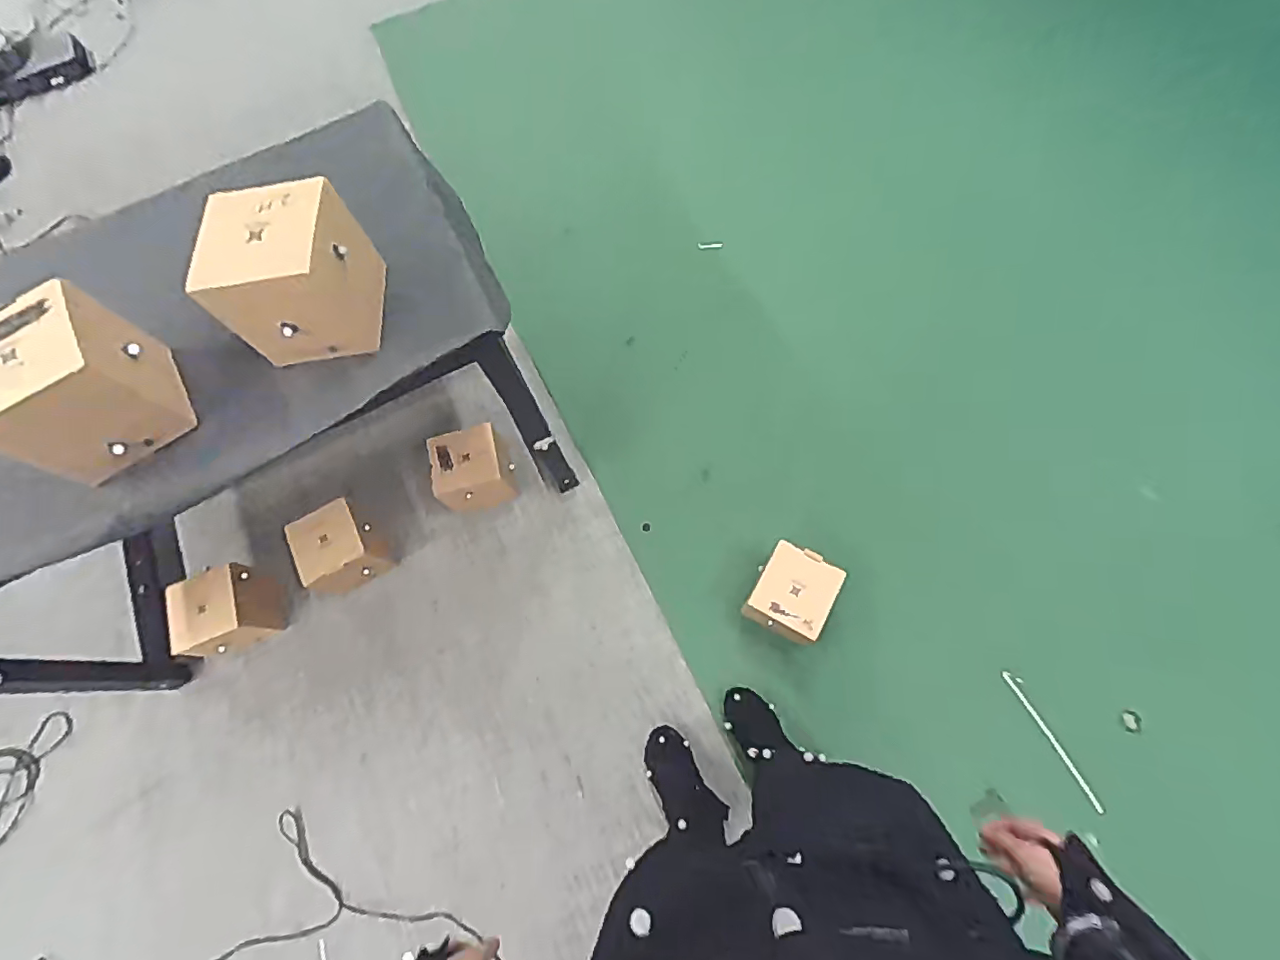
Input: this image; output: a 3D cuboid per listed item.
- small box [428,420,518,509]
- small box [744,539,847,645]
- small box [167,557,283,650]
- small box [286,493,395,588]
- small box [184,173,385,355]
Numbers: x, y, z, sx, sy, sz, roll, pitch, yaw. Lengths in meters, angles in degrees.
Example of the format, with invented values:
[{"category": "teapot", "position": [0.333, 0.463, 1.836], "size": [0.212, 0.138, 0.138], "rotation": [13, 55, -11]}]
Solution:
[{"category": "small box", "position": [-0.446, -0.036, 1.458], "size": [0.179, 0.176, 0.168], "rotation": [-14, 70, -2]}, {"category": "small box", "position": [0.359, 0.271, 1.283], "size": [0.168, 0.176, 0.179], "rotation": [28, 74, 14]}, {"category": "small box", "position": [-1.050, 0.321, 1.381], "size": [0.168, 0.176, 0.179], "rotation": [-23, 70, -3]}, {"category": "small box", "position": [-0.773, 0.167, 1.412], "size": [0.168, 0.176, 0.179], "rotation": [-29, 70, -6]}, {"category": "small box", "position": [-0.490, -0.296, 0.775], "size": [0.168, 0.176, 0.179], "rotation": [-7, 67, 2]}]
